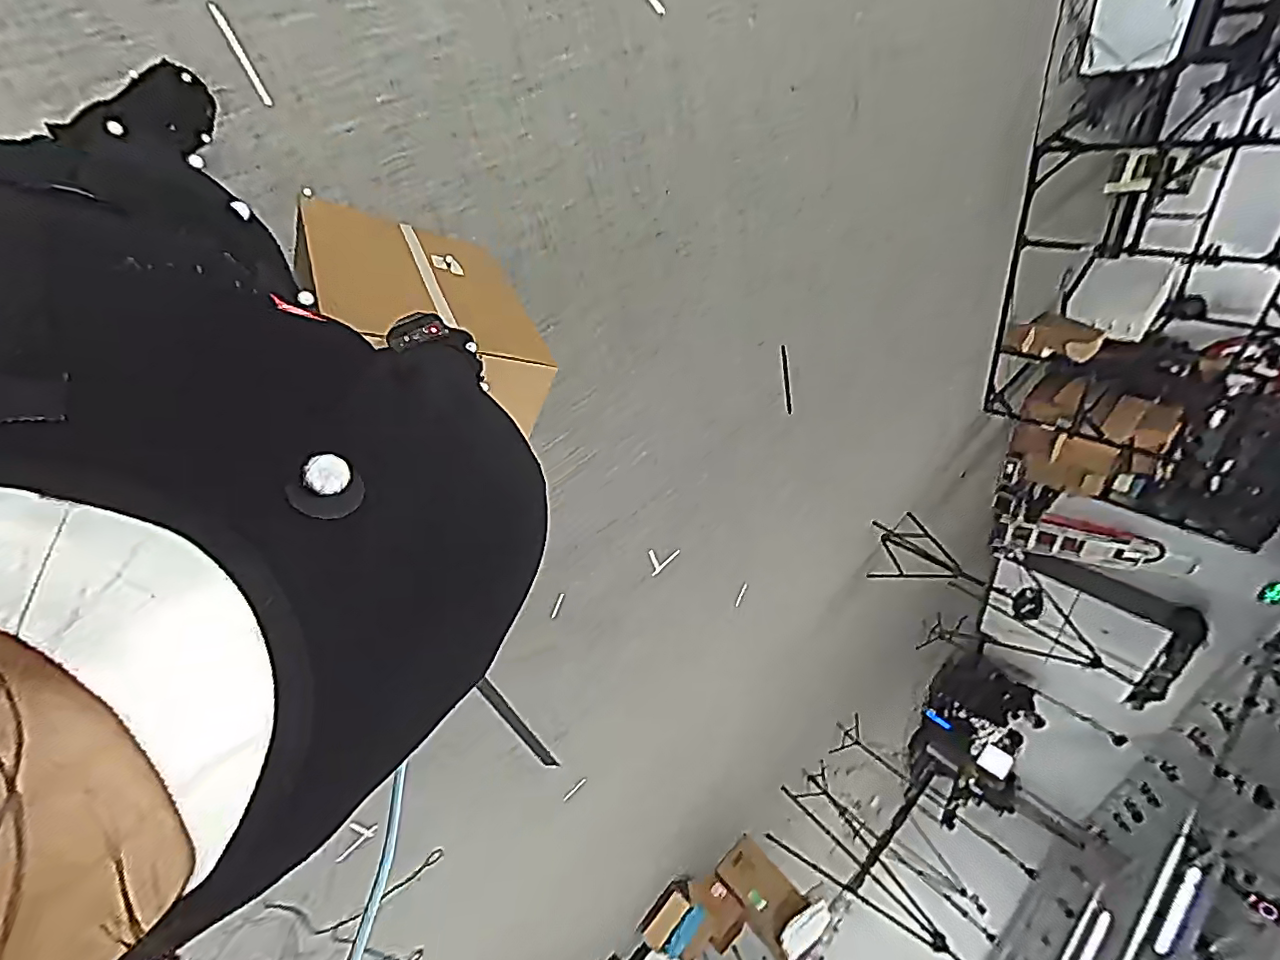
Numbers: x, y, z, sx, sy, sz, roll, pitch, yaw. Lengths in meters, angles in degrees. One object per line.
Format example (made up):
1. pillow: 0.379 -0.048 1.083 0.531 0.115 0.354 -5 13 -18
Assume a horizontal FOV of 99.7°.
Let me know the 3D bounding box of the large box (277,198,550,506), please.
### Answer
1. large box: -0.408 -0.202 0.919 0.320 0.408 0.320 2 131 -40
